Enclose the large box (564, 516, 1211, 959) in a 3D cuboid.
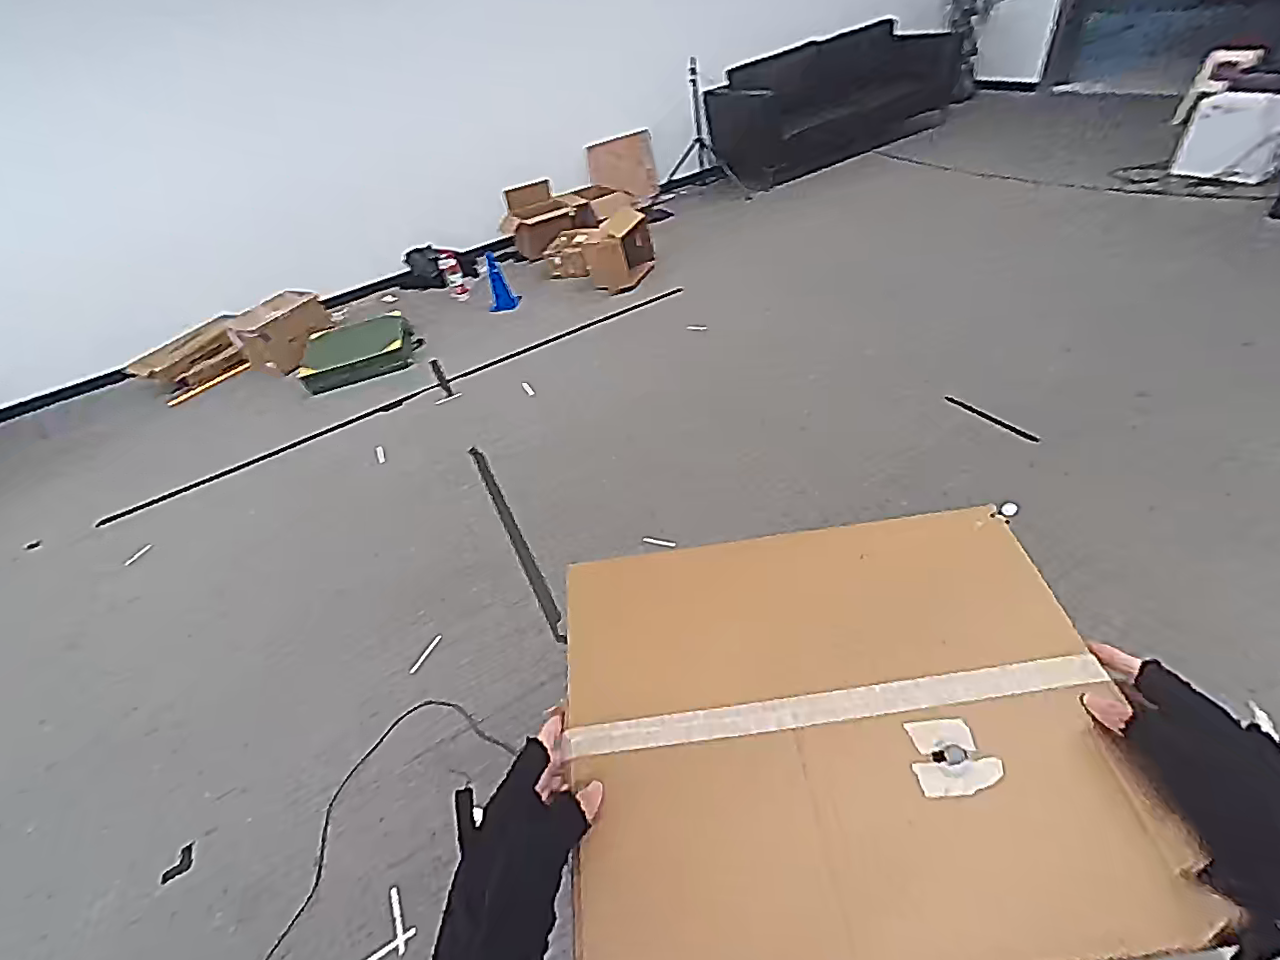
[{"bbox_3d":[0.154,0.276,0.540,0.408,0.320,0.320,-9,51,0],"label":"large box"}]
